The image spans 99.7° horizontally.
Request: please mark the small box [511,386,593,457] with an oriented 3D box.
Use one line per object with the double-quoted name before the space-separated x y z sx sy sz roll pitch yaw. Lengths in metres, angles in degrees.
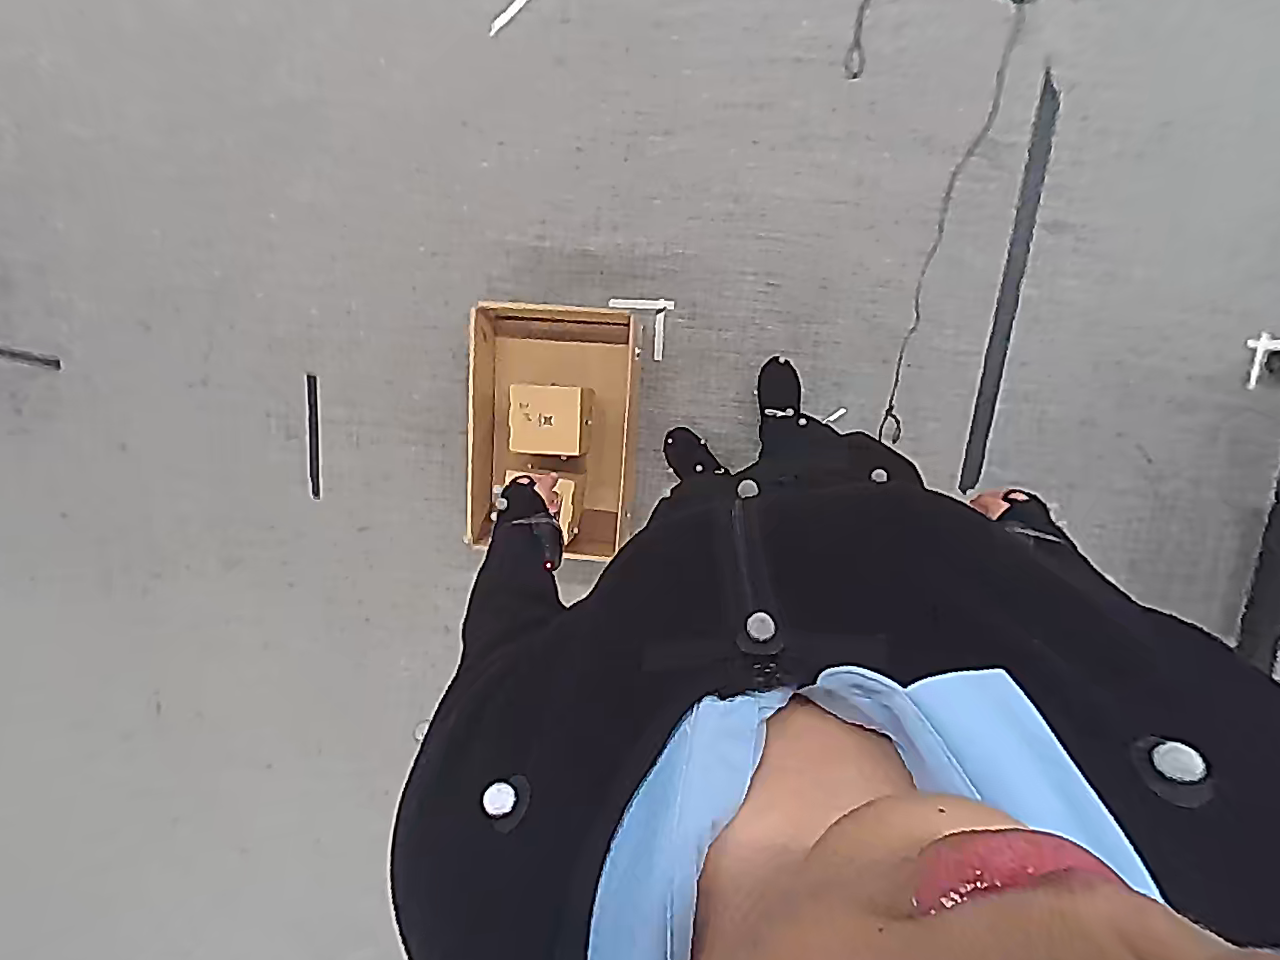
"small box" -0.218 -0.153 1.377 0.179 0.176 0.168 4 99 5
